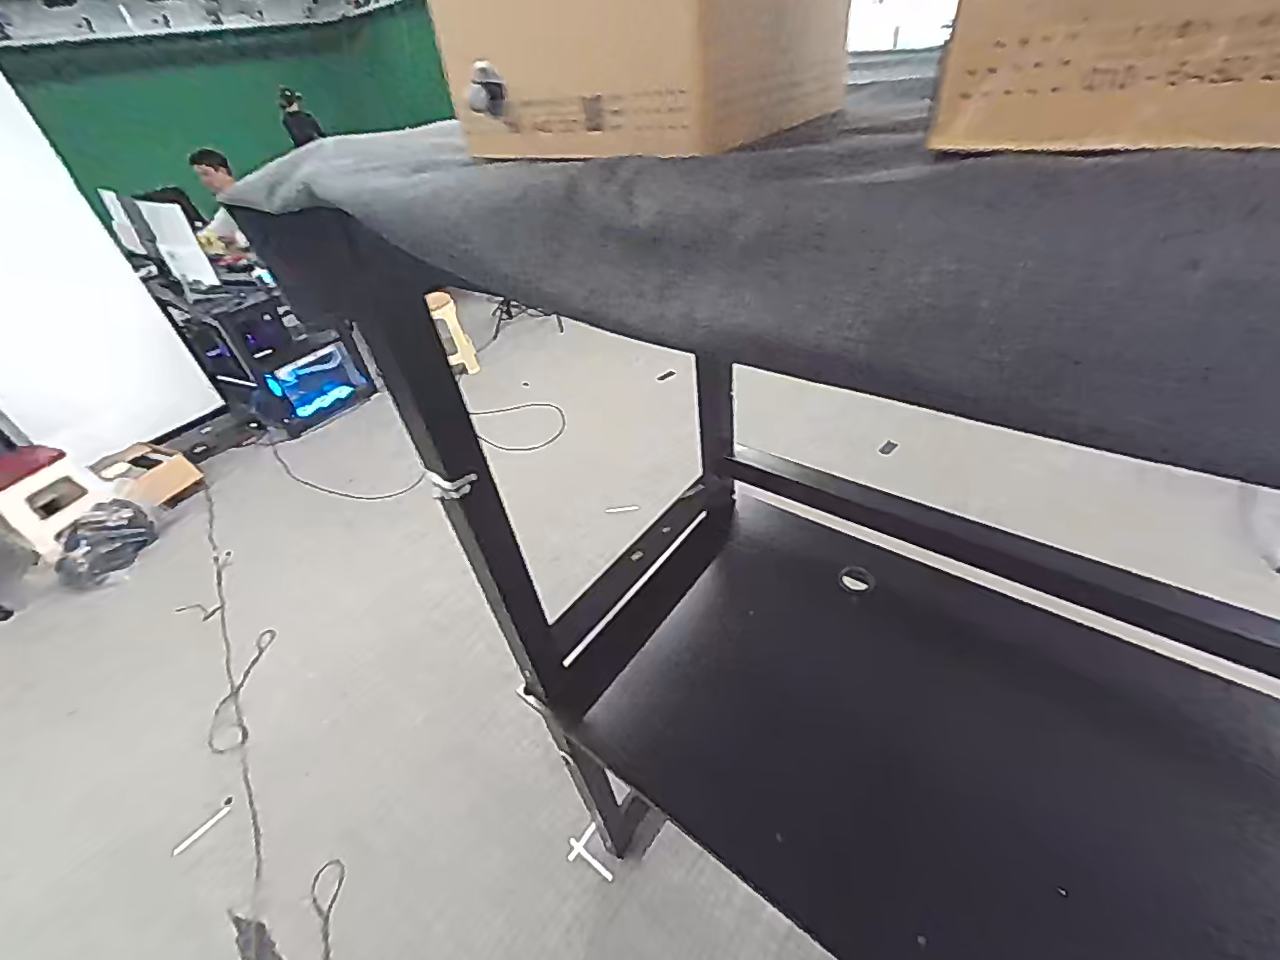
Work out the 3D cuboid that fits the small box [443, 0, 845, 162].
[{"bbox_3d":[0.007,-0.276,0.285,0.168,0.176,0.179,21,45,30],"label":"small box"}]
